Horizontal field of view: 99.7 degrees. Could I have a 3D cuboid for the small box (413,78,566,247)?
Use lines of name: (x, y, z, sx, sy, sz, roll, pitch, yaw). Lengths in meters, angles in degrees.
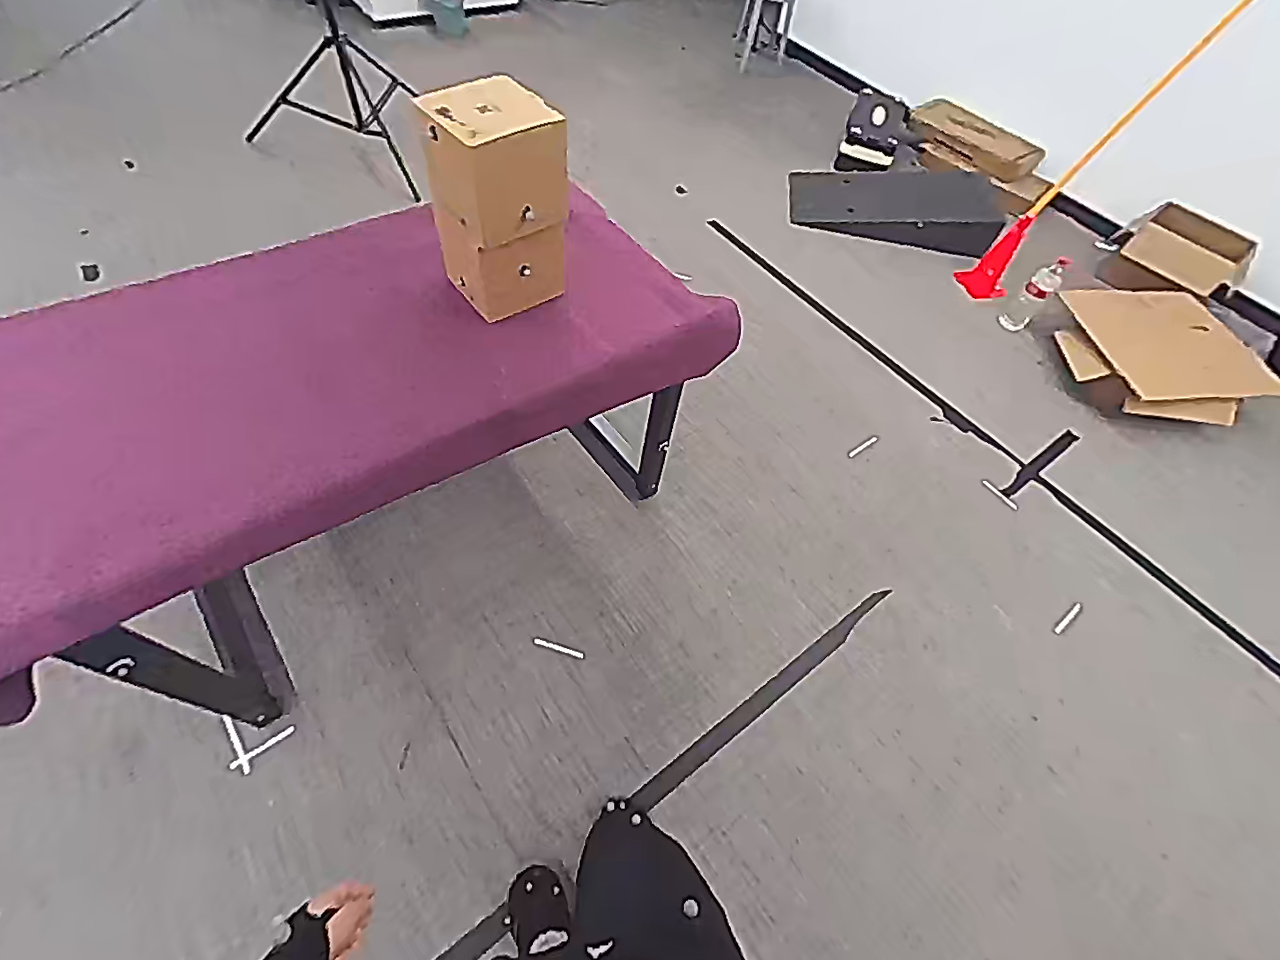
small box: (-0.240, -0.522, 0.895, 0.179, 0.176, 0.168, -35, 67, -26)
